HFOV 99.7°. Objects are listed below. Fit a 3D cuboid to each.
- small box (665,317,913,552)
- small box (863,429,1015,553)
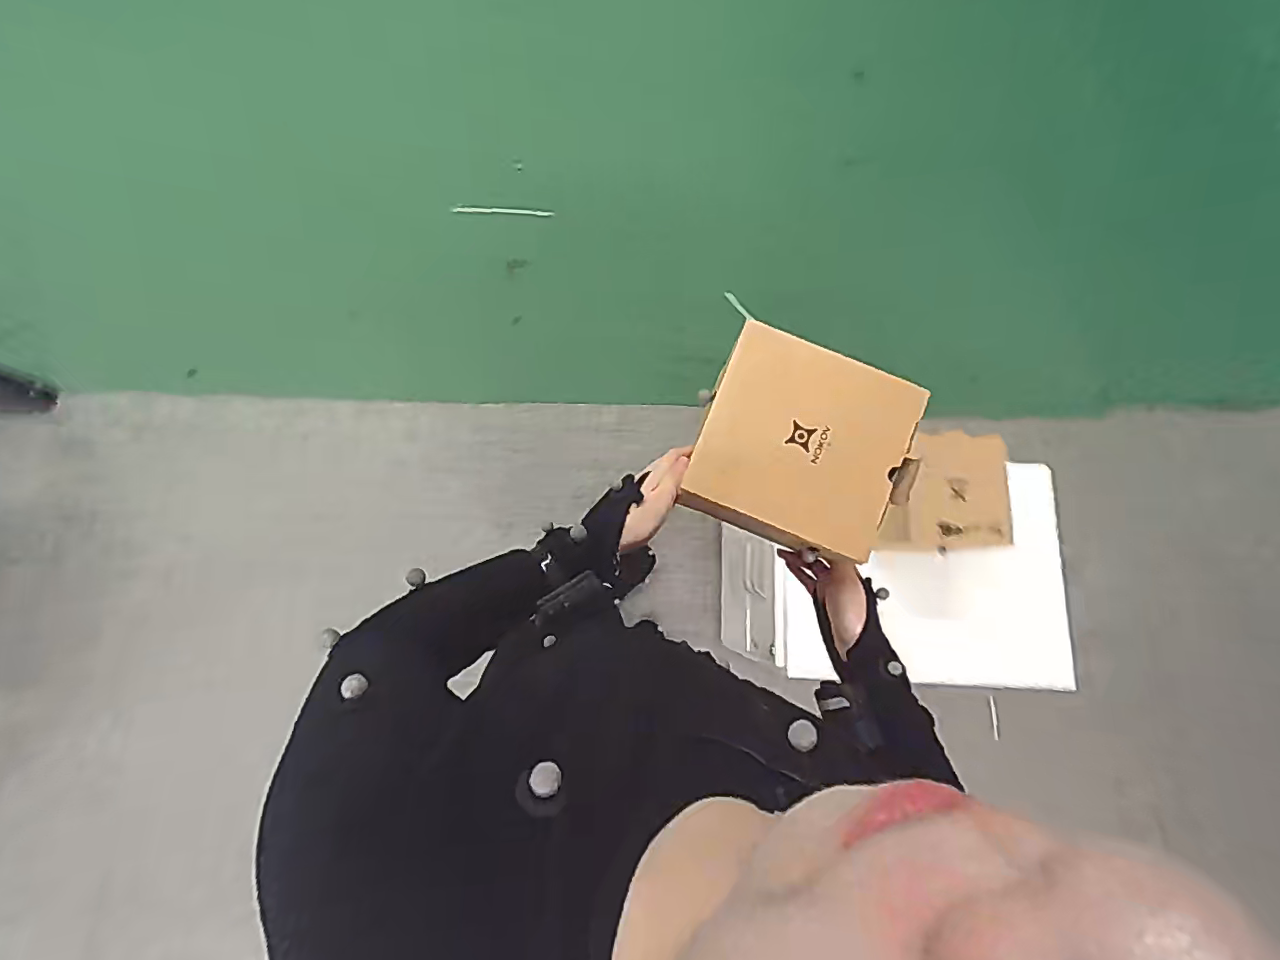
[{"bbox_3d":[0.132,-0.033,0.551,0.179,0.176,0.168,21,85,1],"label":"small box"},{"bbox_3d":[0.481,0.026,0.903,0.168,0.176,0.179,3,79,-2],"label":"small box"}]
